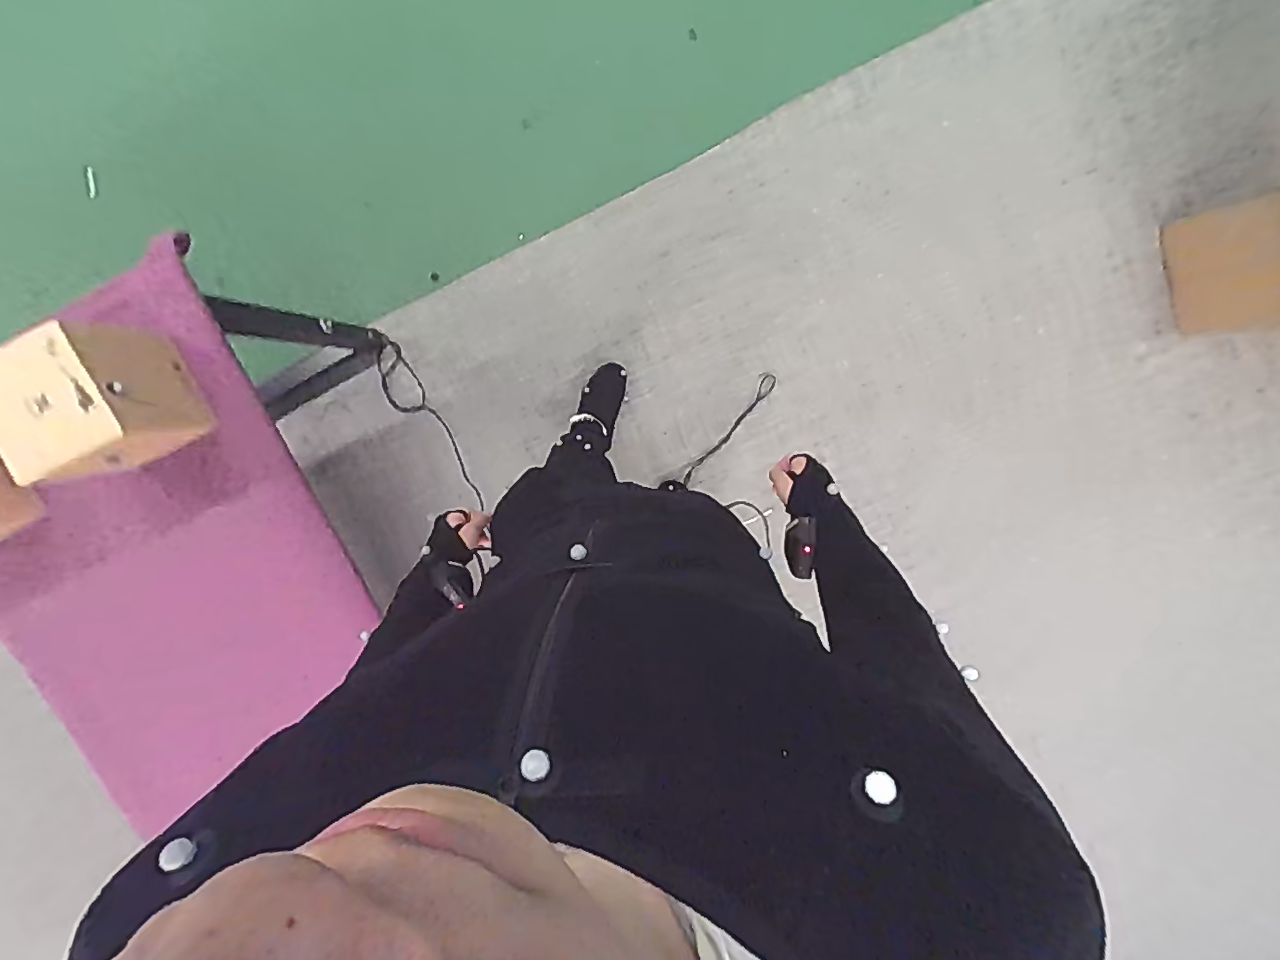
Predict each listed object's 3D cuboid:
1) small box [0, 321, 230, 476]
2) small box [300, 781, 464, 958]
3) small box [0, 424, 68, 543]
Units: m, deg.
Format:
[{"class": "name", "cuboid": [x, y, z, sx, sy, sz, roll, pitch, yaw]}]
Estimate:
[{"class": "small box", "cuboid": [-0.796, -0.125, 0.830, 0.179, 0.176, 0.168, -24, 99, 7]}, {"class": "small box", "cuboid": [-0.436, 0.674, 0.954, 0.179, 0.176, 0.168, -25, 97, 9]}, {"class": "small box", "cuboid": [-1.116, 0.024, 0.875, 0.179, 0.176, 0.168, -26, 100, 7]}]
